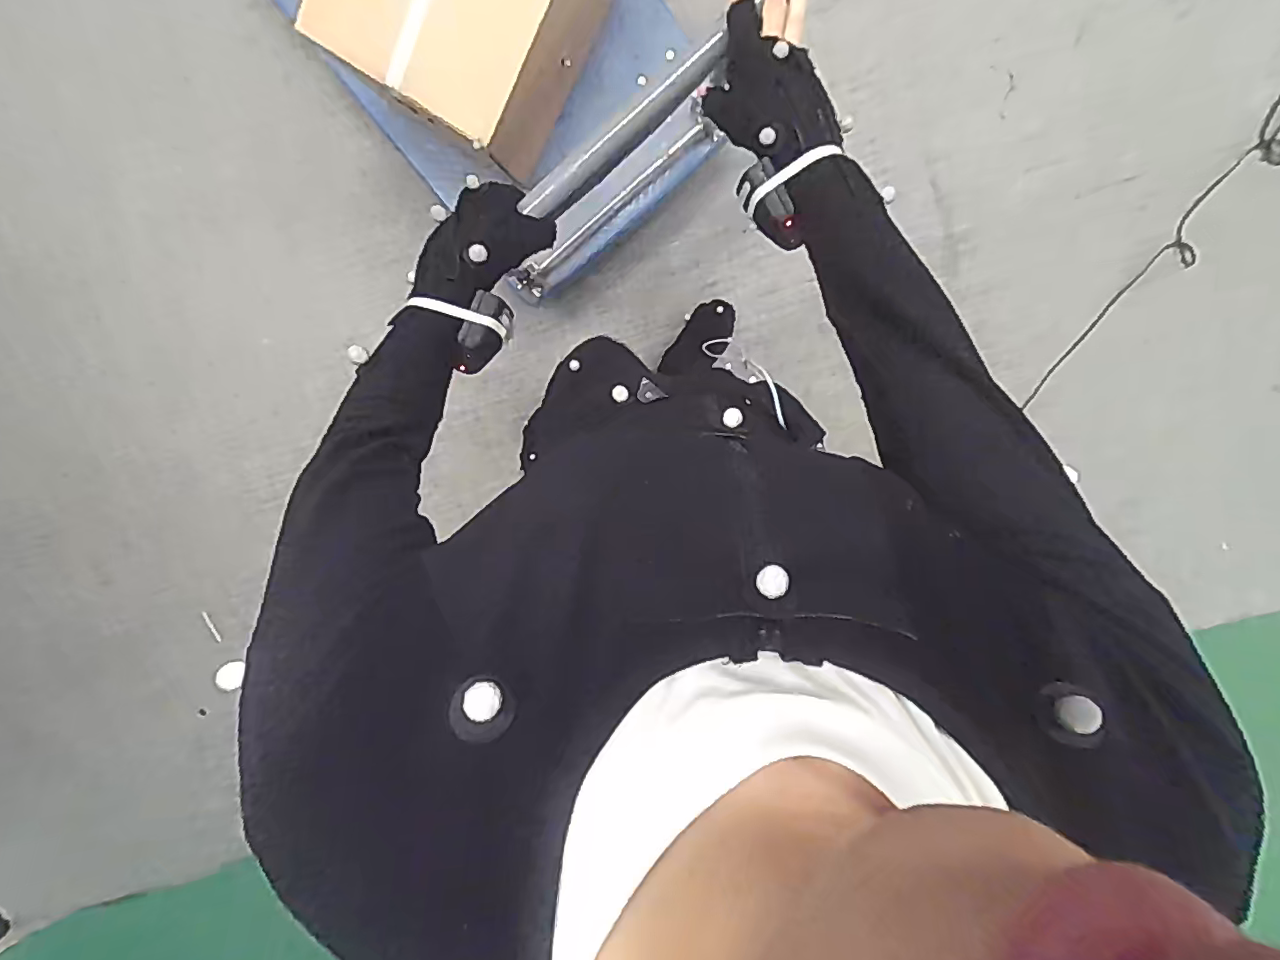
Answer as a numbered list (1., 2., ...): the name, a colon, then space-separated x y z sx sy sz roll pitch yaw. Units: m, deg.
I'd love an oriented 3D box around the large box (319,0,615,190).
1. large box: -0.261 -0.795 0.924 0.320 0.320 0.408 28 107 -7
